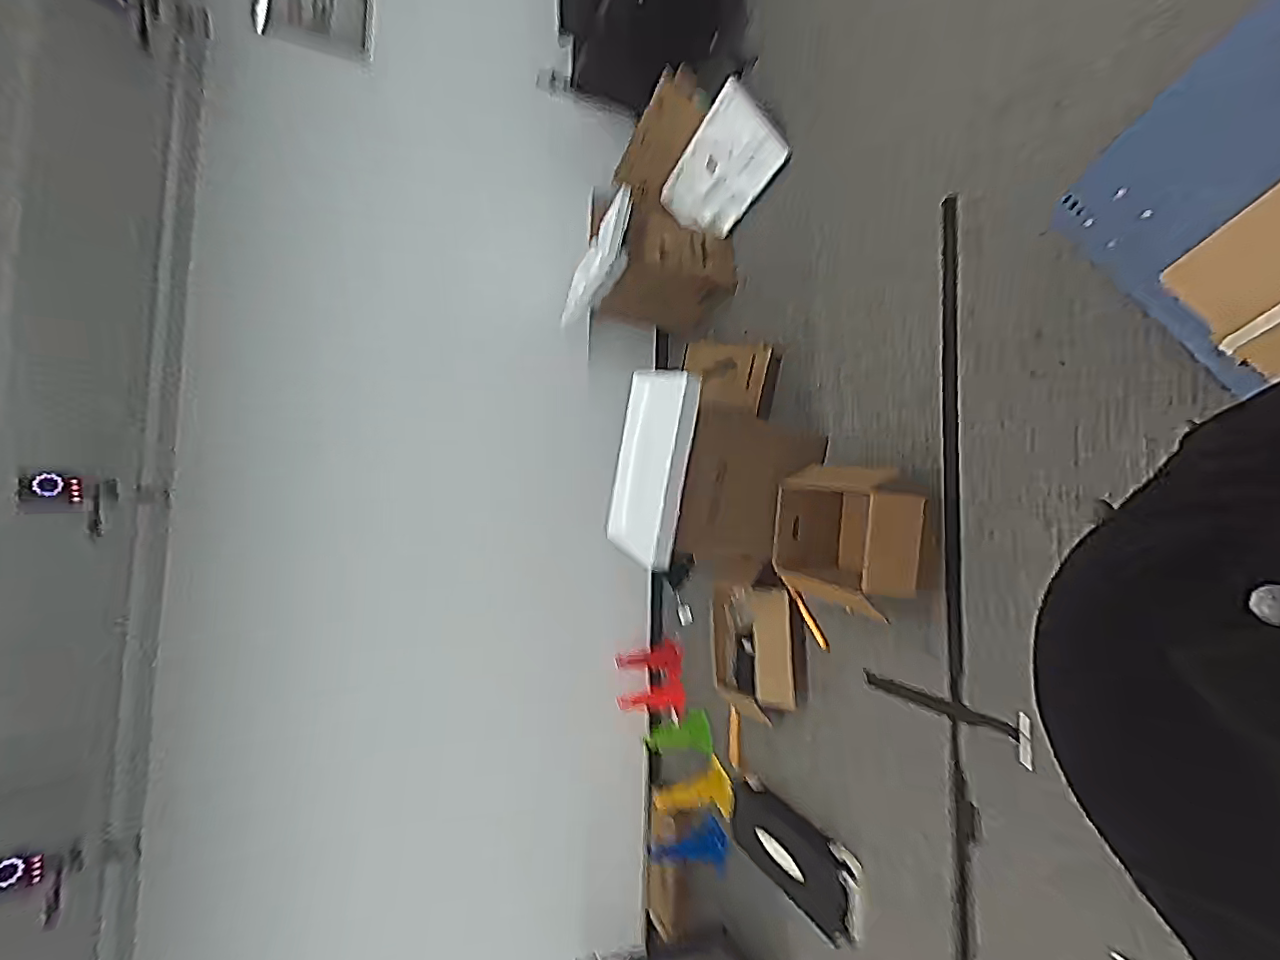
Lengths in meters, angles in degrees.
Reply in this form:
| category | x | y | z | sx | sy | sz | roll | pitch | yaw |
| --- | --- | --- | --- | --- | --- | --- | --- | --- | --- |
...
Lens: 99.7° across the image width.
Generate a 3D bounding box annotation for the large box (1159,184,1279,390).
| category | x | y | z | sx | sy | sz | roll | pitch | yaw |
| --- | --- | --- | --- | --- | --- | --- | --- | --- | --- |
| large box | 1.060 | -0.295 | 0.700 | 0.408 | 0.320 | 0.320 | -55 | 40 | 47 |
